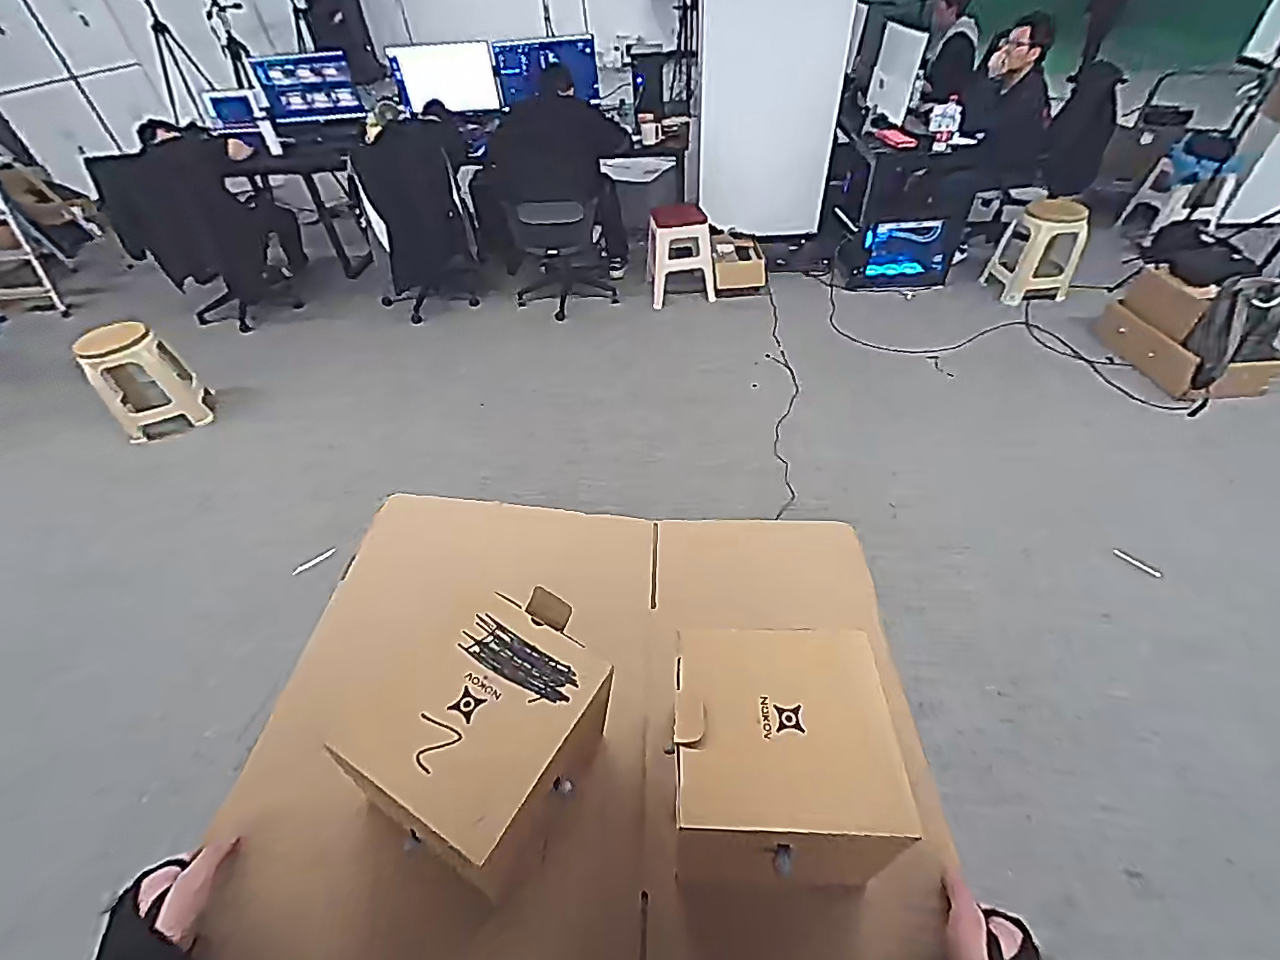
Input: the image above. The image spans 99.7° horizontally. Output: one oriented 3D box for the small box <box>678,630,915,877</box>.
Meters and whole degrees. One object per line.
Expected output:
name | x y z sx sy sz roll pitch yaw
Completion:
small box | 0.125 0.260 0.514 0.179 0.176 0.168 -1 44 4
